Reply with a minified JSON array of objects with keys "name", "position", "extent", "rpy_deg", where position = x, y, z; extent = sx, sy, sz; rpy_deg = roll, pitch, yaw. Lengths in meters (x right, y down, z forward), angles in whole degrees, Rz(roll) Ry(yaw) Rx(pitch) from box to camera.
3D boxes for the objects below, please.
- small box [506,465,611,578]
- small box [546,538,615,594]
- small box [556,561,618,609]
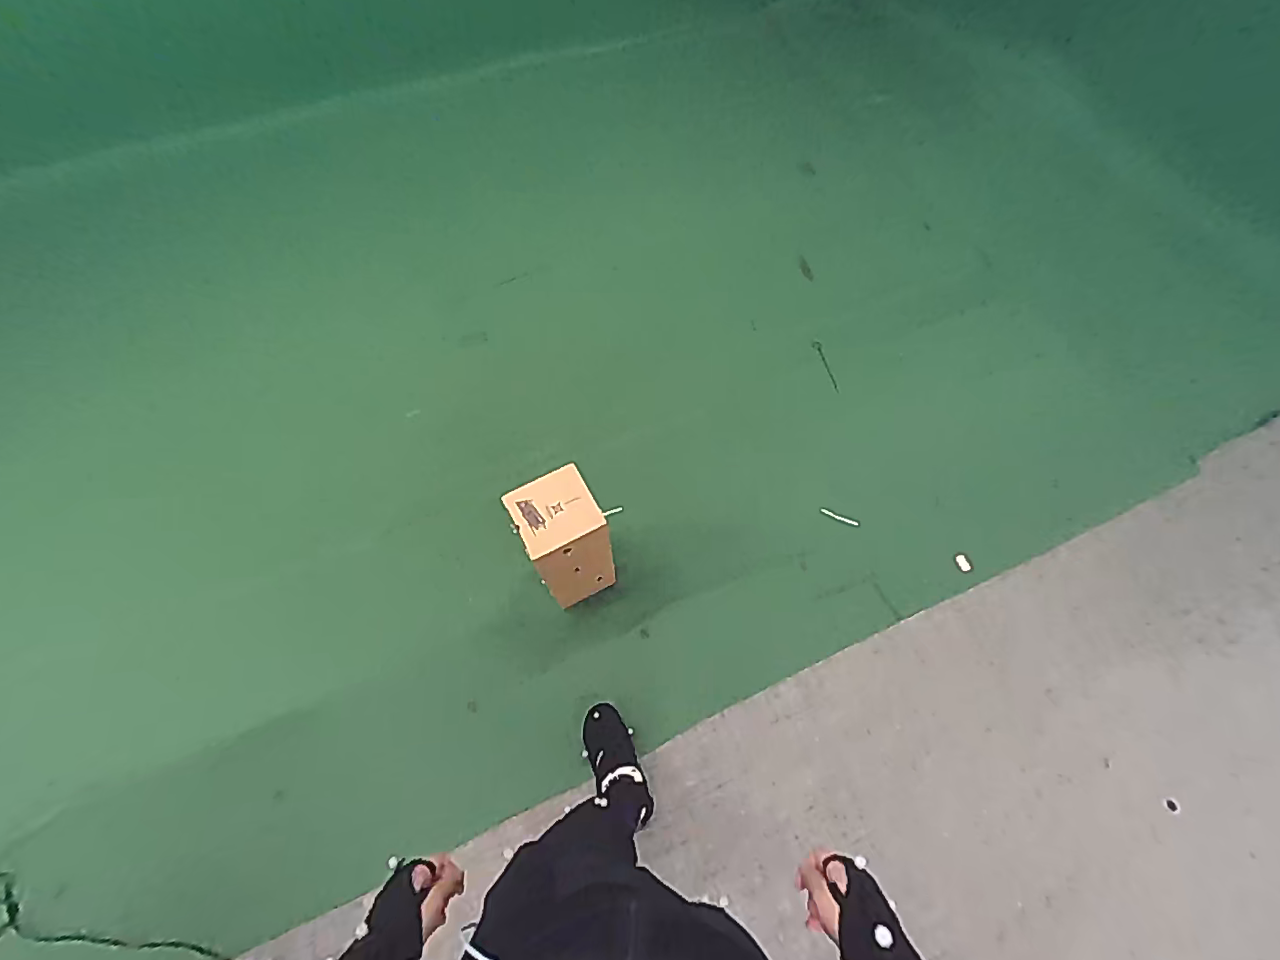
[{"name":"small box","position":[-0.177,0.100,1.221],"extent":[0.179,0.176,0.168],"rpy_deg":[-26,68,-12]},{"name":"small box","position":[-0.173,0.167,1.370],"extent":[0.179,0.176,0.168],"rpy_deg":[-24,67,-11]},{"name":"small box","position":[-0.174,0.238,1.516],"extent":[0.179,0.176,0.168],"rpy_deg":[-25,67,-12]}]
